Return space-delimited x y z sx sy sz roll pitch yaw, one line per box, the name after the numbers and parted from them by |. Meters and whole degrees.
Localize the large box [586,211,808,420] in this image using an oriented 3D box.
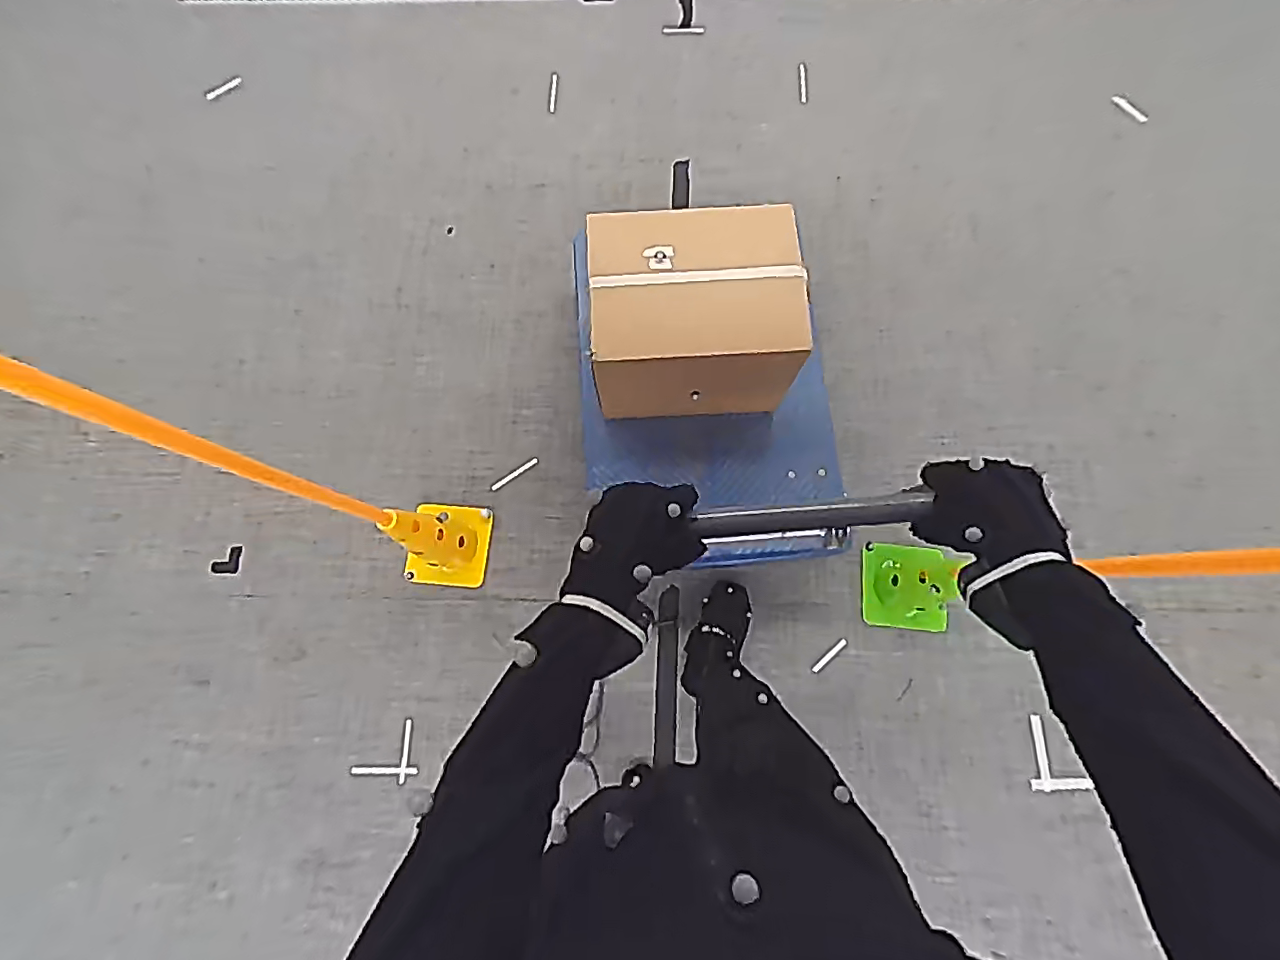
0.106 -0.331 1.164 0.408 0.320 0.320 -3 76 1 | large box

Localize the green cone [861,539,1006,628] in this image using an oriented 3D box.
0.645 0.209 1.161 0.202 0.368 0.200 5 76 1 | green cone
